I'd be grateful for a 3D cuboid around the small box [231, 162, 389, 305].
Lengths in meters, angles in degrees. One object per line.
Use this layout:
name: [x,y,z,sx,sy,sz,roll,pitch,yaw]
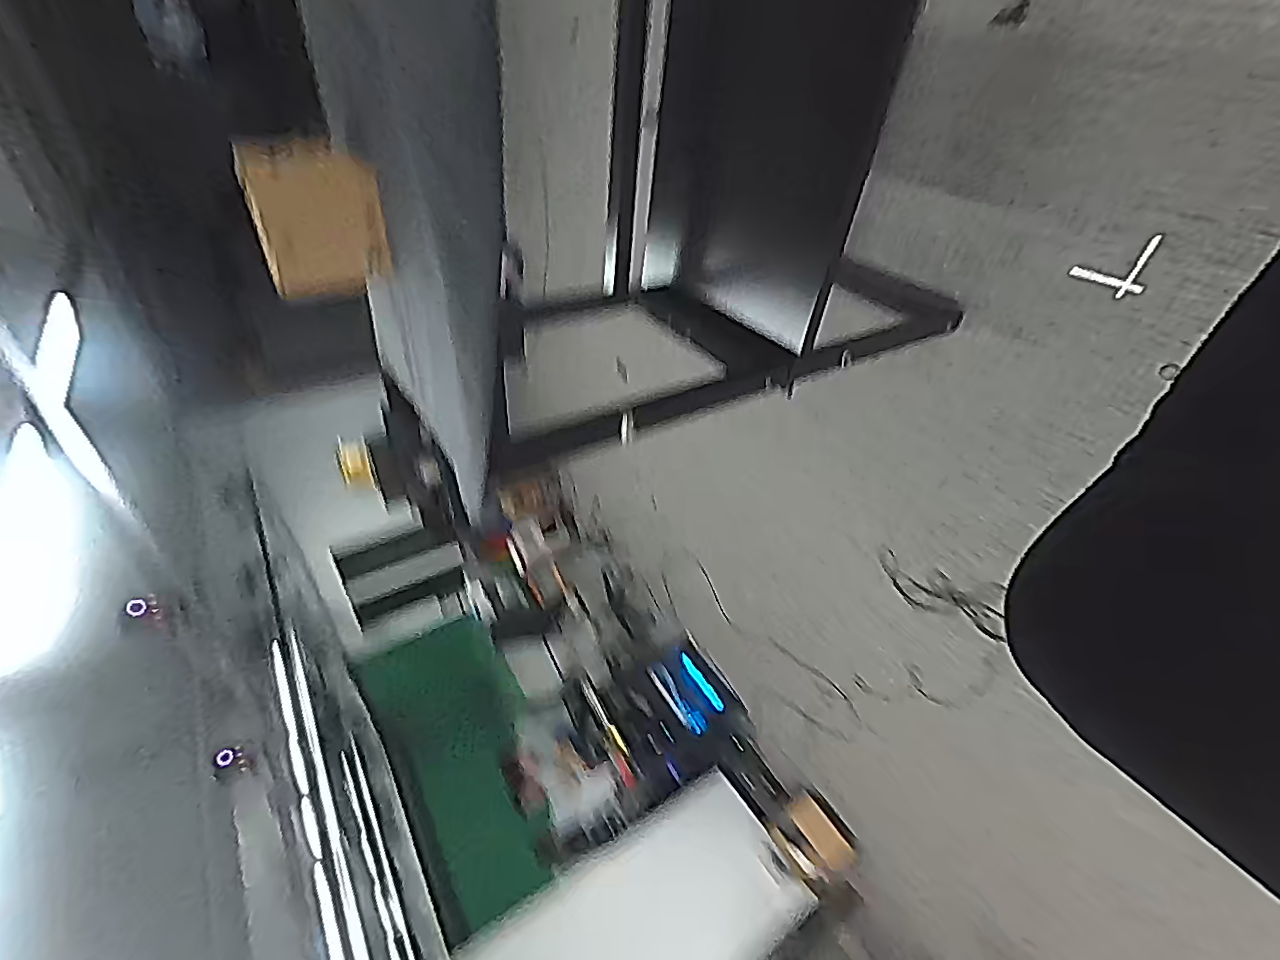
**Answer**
small box: [-0.521,-0.404,0.871,0.179,0.176,0.168,46,144,38]
